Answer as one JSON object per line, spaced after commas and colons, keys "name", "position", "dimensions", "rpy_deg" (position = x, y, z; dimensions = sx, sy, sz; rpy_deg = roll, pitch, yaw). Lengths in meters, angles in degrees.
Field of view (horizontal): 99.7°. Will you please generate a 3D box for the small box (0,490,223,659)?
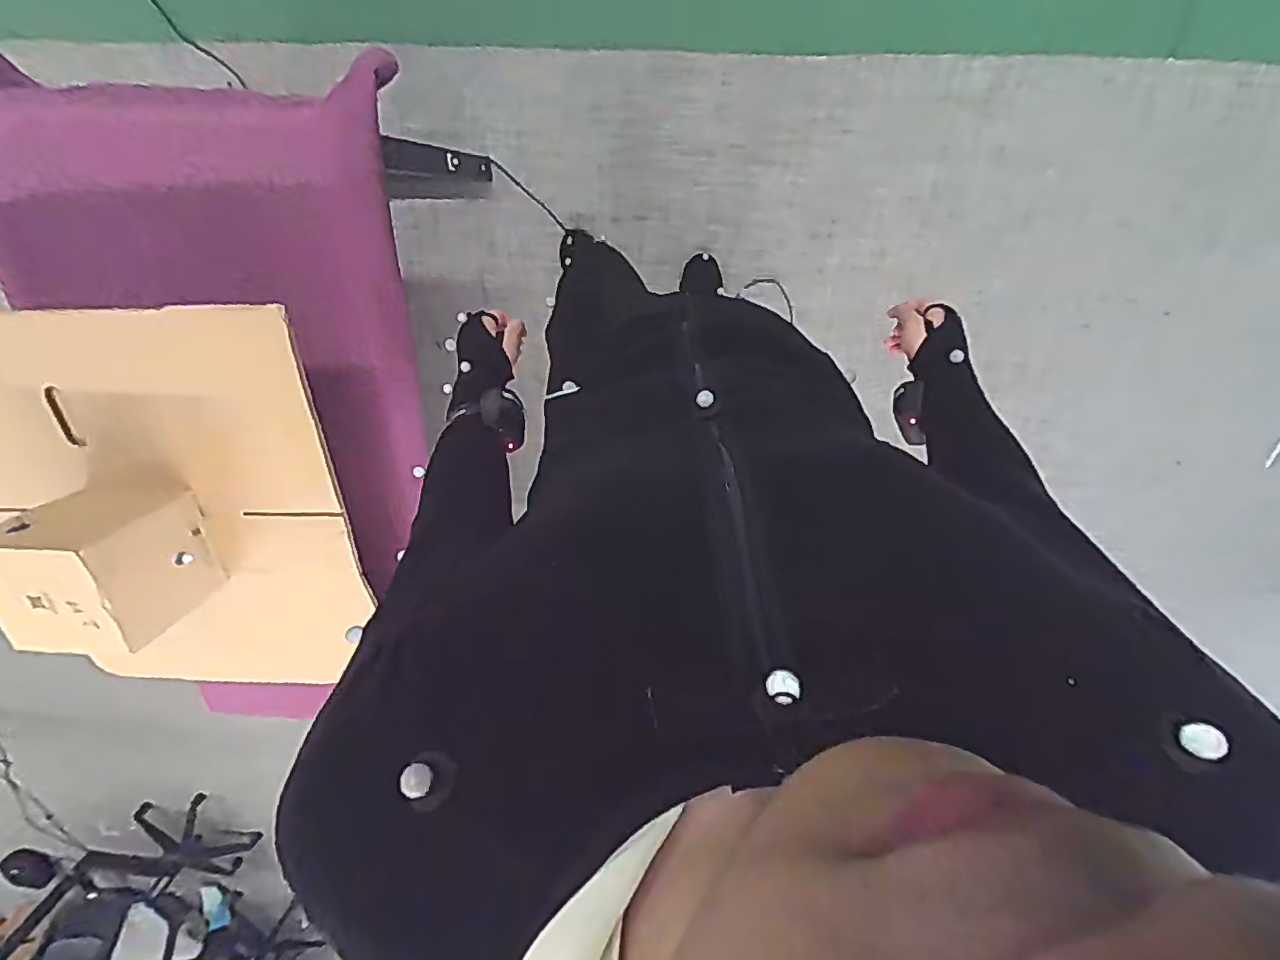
{"name": "small box", "position": [-0.741, 0.122, 0.749], "dimensions": [0.179, 0.176, 0.168], "rpy_deg": [2, 115, 4]}
